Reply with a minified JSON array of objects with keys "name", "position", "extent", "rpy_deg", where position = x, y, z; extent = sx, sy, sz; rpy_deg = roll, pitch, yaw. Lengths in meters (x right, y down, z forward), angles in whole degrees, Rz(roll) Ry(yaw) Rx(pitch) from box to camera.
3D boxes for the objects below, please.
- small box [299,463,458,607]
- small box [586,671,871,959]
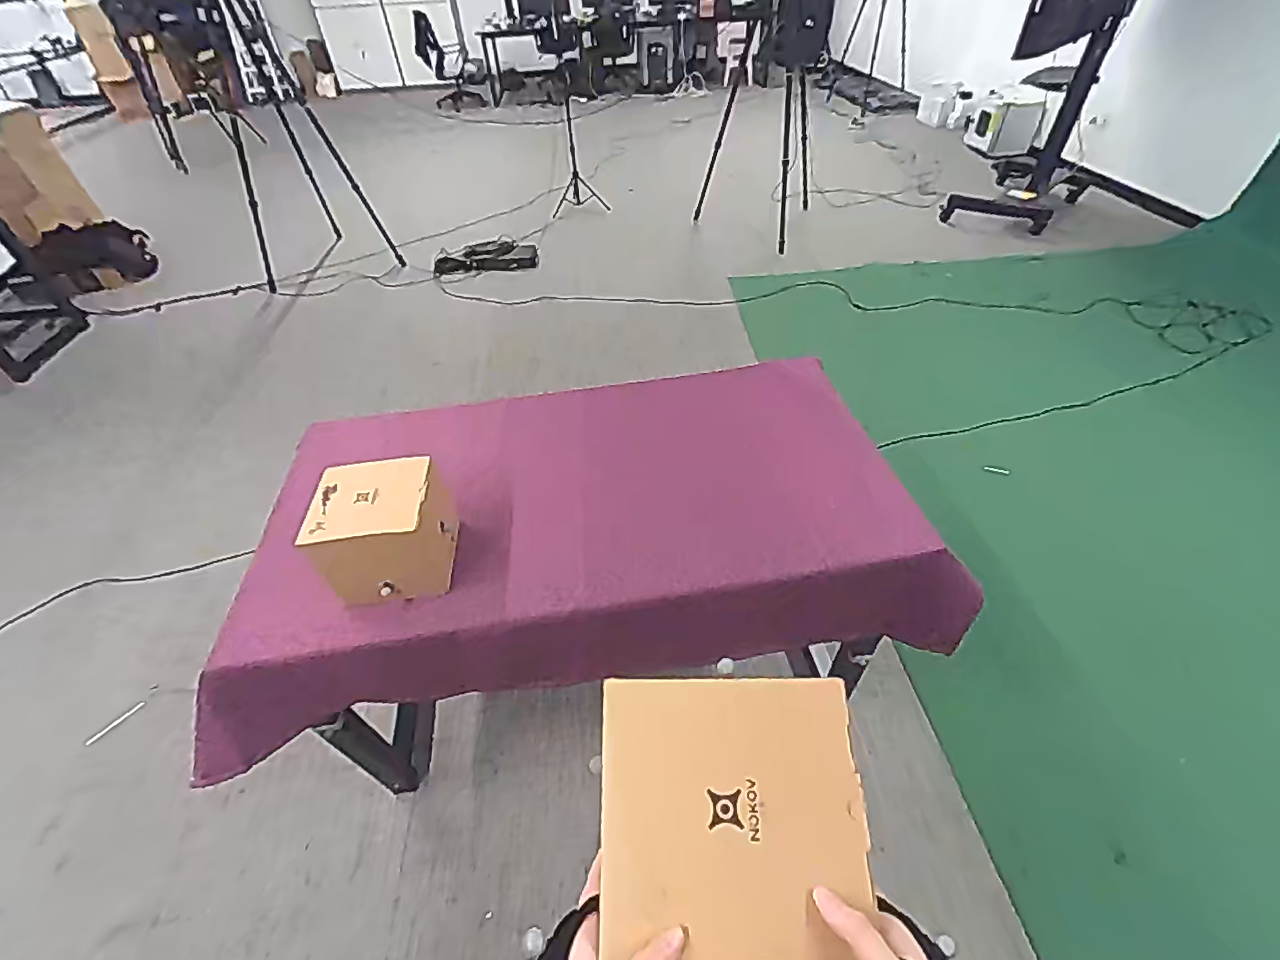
[{"name":"small box","position":[-0.417,0.093,0.901],"extent":[0.179,0.176,0.168],"rpy_deg":[-6,44,-3]},{"name":"small box","position":[0.056,0.249,0.433],"extent":[0.179,0.176,0.168],"rpy_deg":[0,65,1]}]
